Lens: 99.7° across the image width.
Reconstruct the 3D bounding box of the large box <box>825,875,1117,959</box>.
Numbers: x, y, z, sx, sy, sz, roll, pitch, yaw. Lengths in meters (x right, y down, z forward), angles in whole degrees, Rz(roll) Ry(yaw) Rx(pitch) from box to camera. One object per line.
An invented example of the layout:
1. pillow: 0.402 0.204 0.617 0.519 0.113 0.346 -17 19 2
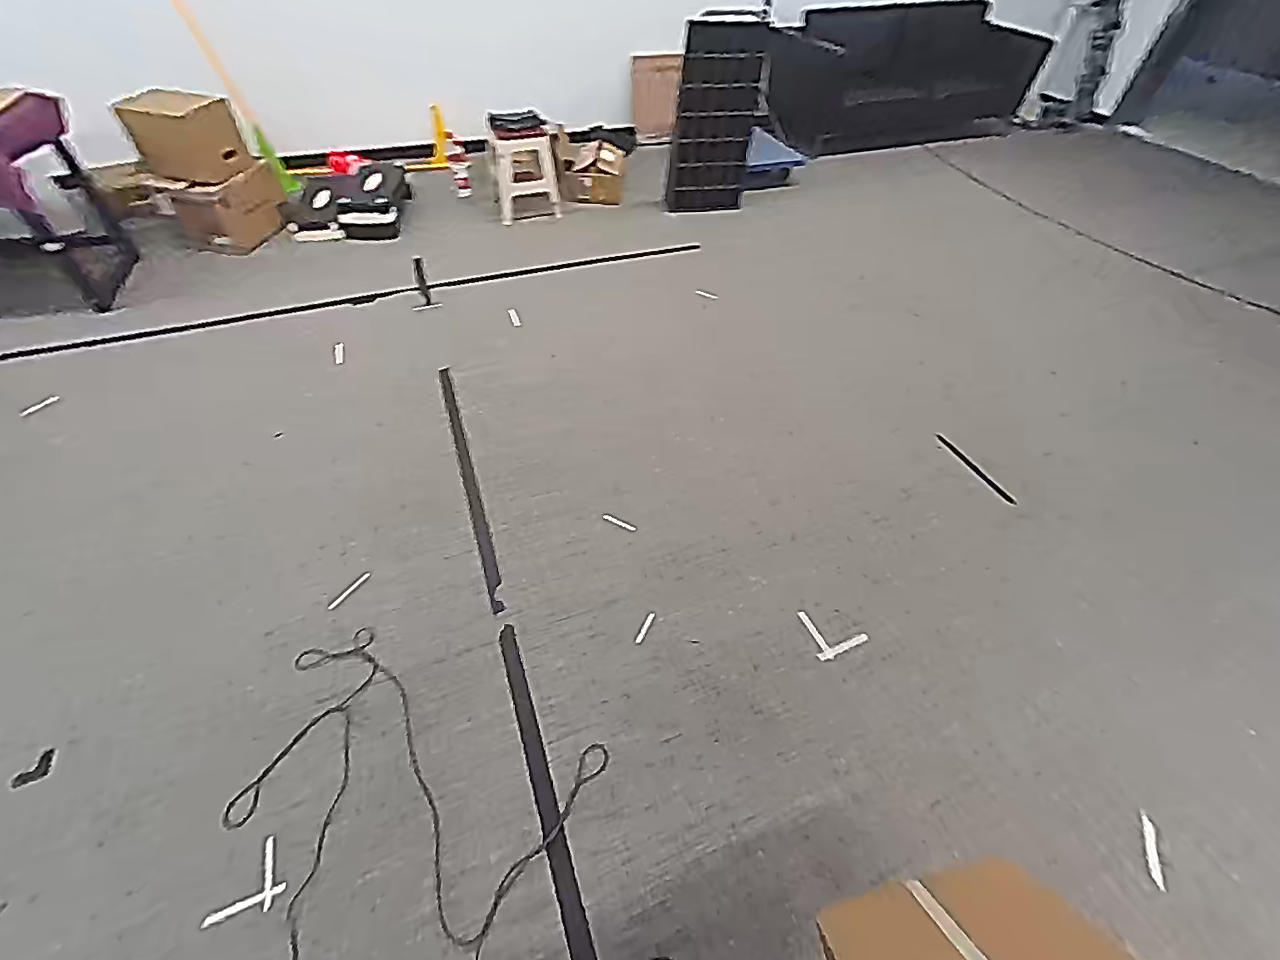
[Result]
1. large box: 0.458 0.749 0.601 0.320 0.408 0.320 -13 83 -3
